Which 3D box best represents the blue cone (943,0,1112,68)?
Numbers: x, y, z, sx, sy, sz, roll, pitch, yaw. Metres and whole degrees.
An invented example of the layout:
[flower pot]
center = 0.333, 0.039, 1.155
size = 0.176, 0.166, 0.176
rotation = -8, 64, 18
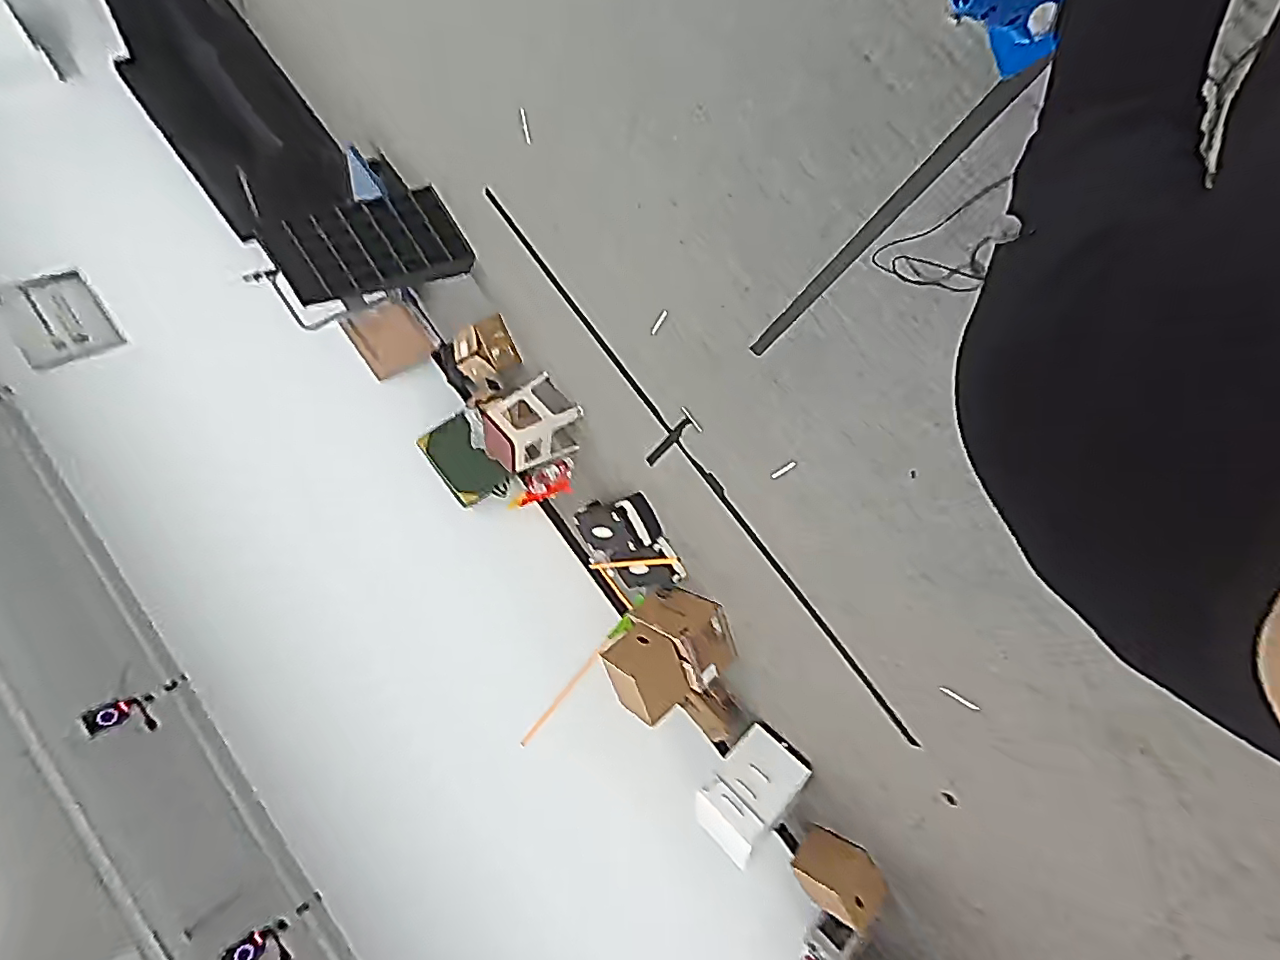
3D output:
[blue cone]
center = 0.641, -0.842, 0.935
size = 0.192, 0.380, 0.193
rotation = -3, 116, 58
